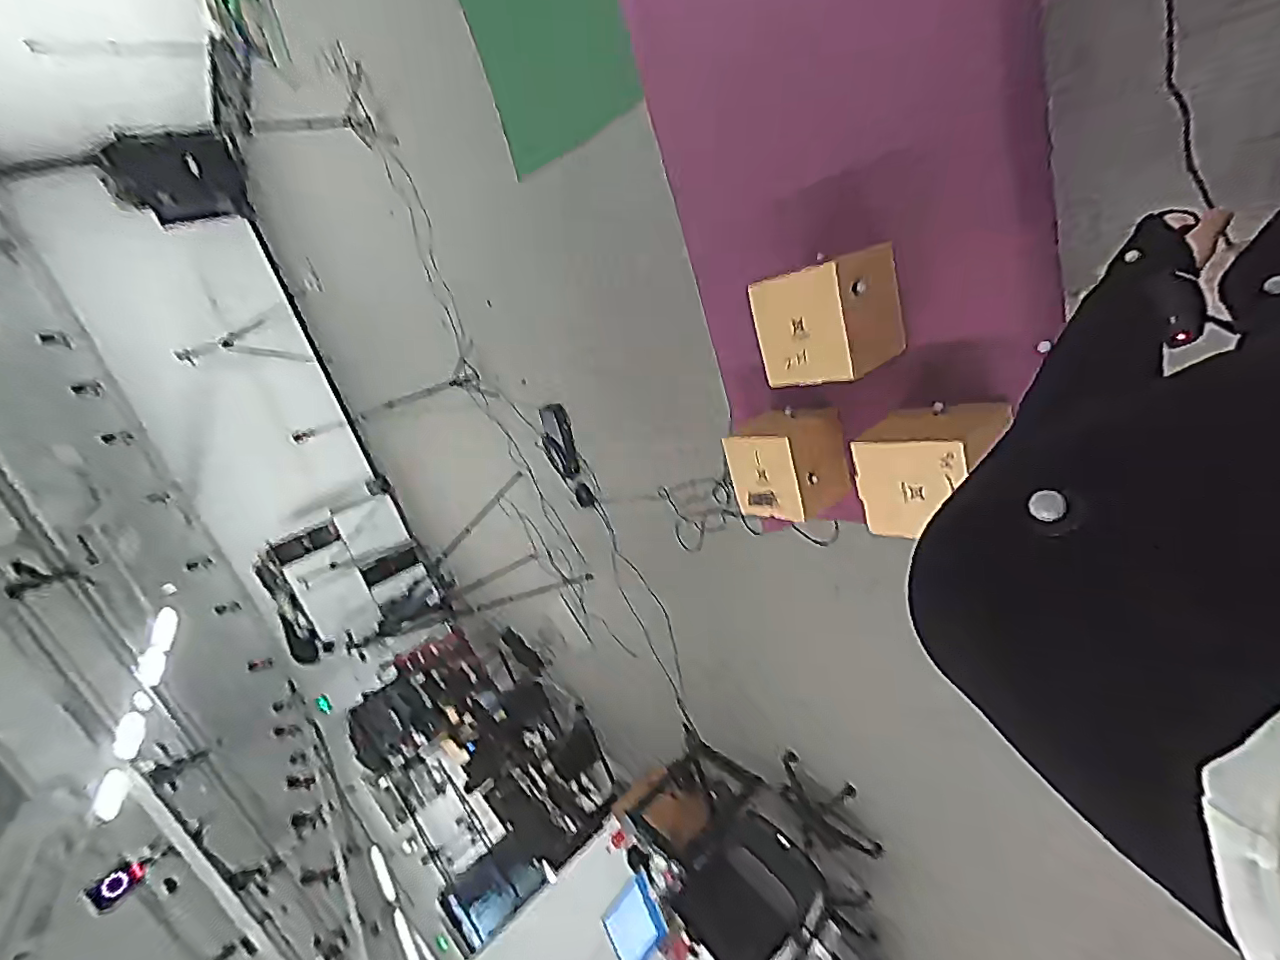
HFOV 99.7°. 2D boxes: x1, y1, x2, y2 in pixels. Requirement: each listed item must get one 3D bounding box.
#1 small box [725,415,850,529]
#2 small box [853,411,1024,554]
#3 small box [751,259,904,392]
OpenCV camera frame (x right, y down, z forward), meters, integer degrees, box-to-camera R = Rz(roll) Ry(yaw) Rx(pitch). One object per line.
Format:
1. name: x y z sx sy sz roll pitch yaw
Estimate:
1. small box: 0.306 -0.022 1.105 0.168 0.176 0.179 5 117 52
2. small box: 0.481 -0.004 0.872 0.179 0.176 0.168 5 119 55
3. small box: 0.317 -0.258 0.906 0.168 0.176 0.179 6 118 53
